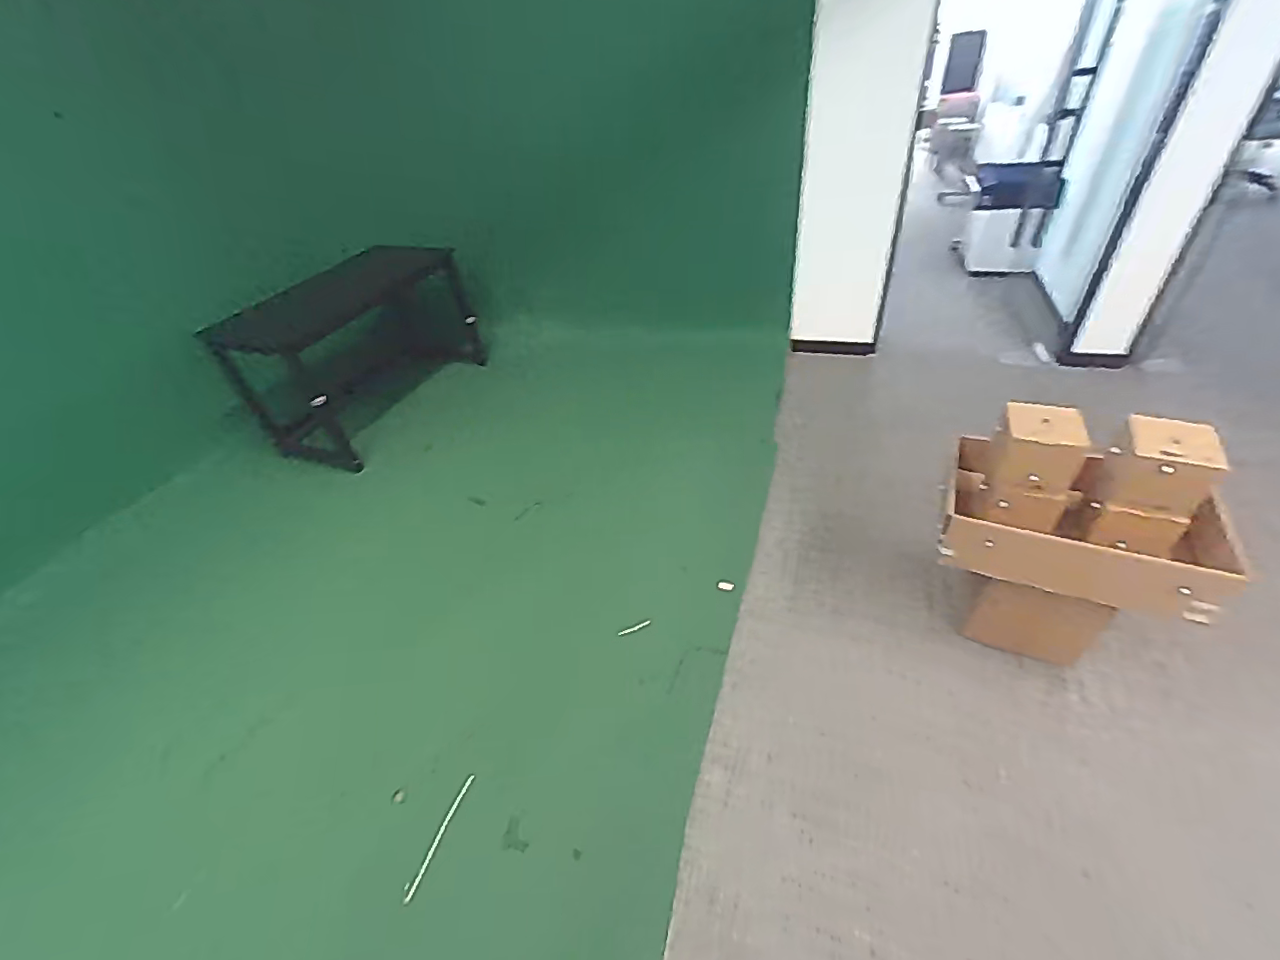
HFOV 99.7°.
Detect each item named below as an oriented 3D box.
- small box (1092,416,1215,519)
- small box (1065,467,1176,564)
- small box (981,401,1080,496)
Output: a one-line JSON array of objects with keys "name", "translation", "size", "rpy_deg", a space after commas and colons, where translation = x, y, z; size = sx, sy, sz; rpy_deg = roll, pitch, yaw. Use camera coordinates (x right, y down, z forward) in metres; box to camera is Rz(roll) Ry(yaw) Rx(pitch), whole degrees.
[{"name": "small box", "translation": [1.280, -0.032, 1.367], "size": [0.168, 0.176, 0.179], "rpy_deg": [15, 47, 23]}, {"name": "small box", "translation": [1.292, 0.095, 1.471], "size": [0.168, 0.176, 0.179], "rpy_deg": [14, 47, 21]}, {"name": "small box", "translation": [1.038, -0.086, 1.455], "size": [0.168, 0.176, 0.179], "rpy_deg": [11, 45, 19]}]
